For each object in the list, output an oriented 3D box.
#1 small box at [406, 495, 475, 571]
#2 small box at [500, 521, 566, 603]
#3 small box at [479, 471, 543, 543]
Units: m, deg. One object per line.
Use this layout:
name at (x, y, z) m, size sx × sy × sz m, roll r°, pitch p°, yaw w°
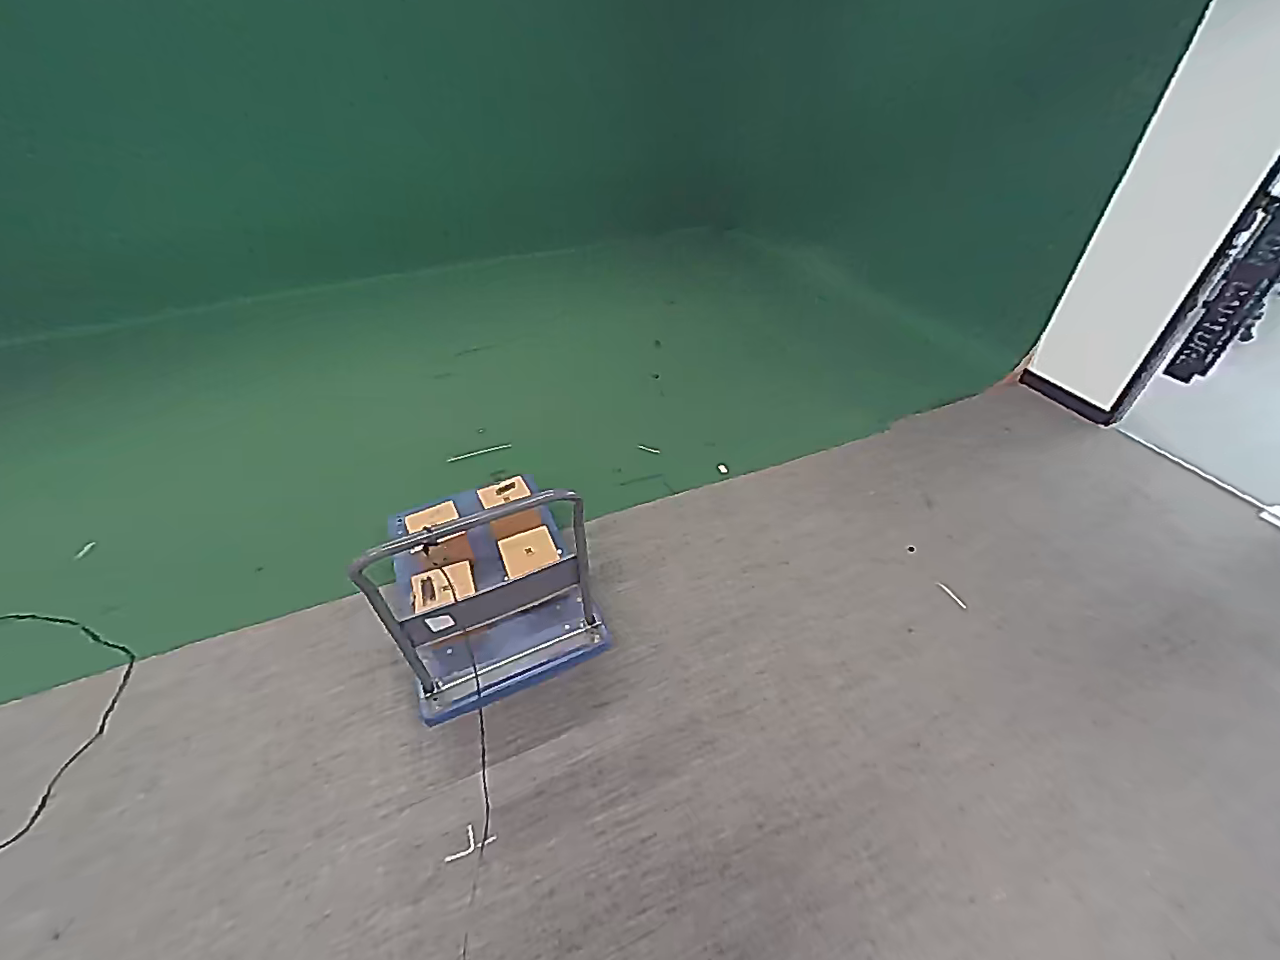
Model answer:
small box at (-0.681, 0.190, 1.859) m, size 0.168 × 0.176 × 0.179 m, roll -21°, pitch 46°, yaw -20°
small box at (-0.348, 0.269, 1.764) m, size 0.168 × 0.176 × 0.179 m, roll -17°, pitch 46°, yaw -16°
small box at (-0.461, 0.103, 1.944) m, size 0.168 × 0.176 × 0.179 m, roll -22°, pitch 48°, yaw -19°
